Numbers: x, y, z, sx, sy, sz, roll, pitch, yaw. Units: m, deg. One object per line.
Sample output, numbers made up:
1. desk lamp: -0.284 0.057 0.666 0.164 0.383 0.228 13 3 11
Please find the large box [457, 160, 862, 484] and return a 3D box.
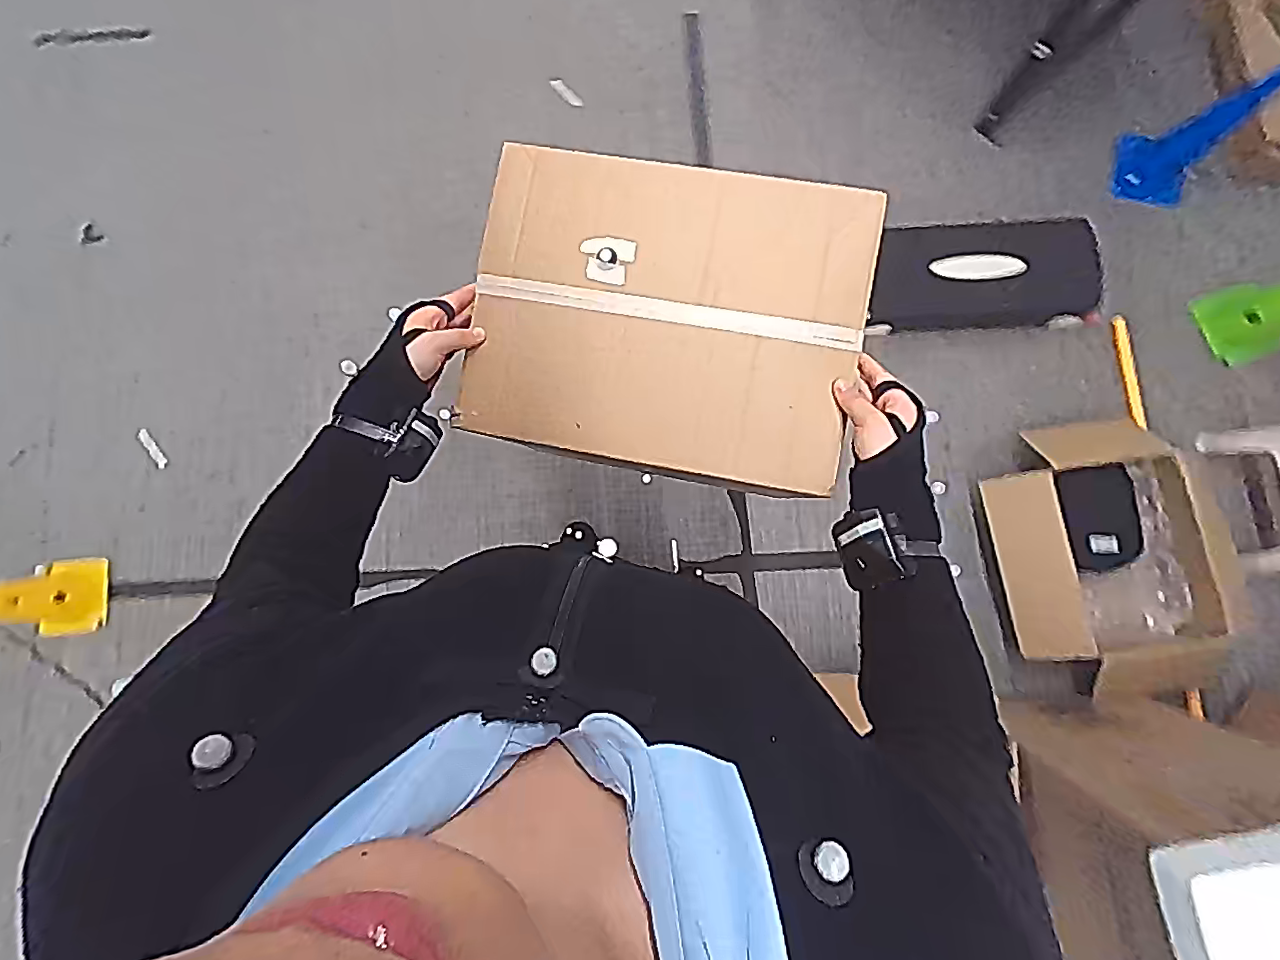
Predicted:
1. large box: 0.030 -0.172 0.721 0.408 0.320 0.320 9 88 6
